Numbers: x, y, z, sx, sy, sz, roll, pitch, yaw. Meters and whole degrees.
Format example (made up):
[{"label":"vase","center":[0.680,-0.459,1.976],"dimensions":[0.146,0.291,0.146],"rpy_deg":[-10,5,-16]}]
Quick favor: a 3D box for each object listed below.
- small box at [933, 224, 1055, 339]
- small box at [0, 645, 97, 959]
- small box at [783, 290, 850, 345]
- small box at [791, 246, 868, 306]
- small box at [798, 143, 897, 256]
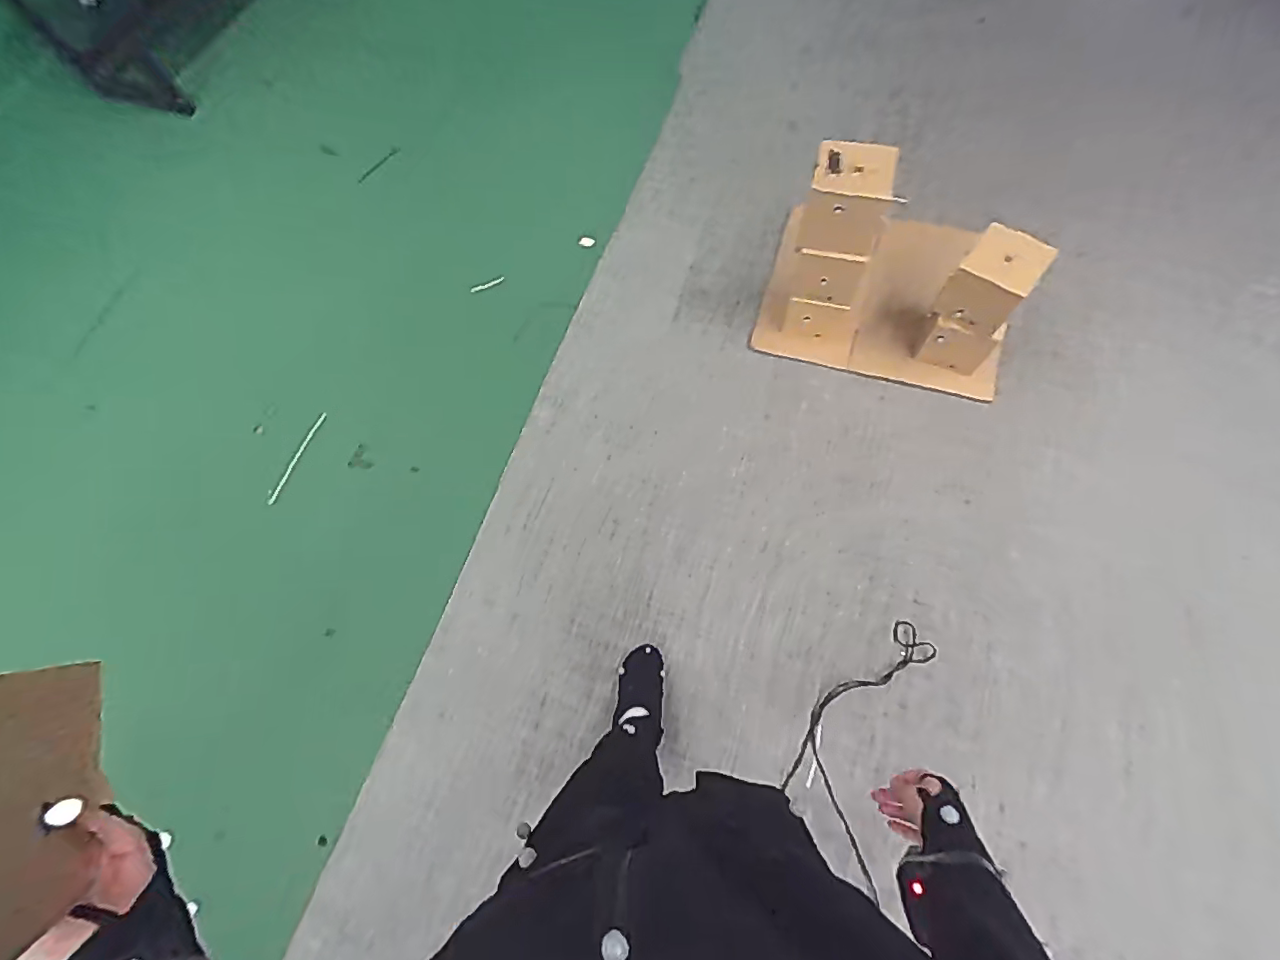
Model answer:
[{"label":"small box","center":[0.878,-0.494,1.359],"dimensions":[0.168,0.176,0.179],"rpy_deg":[36,76,17]},{"label":"small box","center":[-0.454,0.195,0.310],"dimensions":[0.168,0.179,0.176],"rpy_deg":[-4,80,-27]},{"label":"small box","center":[0.523,-0.523,1.587],"dimensions":[0.168,0.176,0.179],"rpy_deg":[14,69,11]},{"label":"small box","center":[0.507,-0.591,1.437],"dimensions":[0.168,0.176,0.179],"rpy_deg":[14,70,10]},{"label":"small box","center":[0.487,-0.665,1.291],"dimensions":[0.179,0.176,0.168],"rpy_deg":[13,70,10]}]
